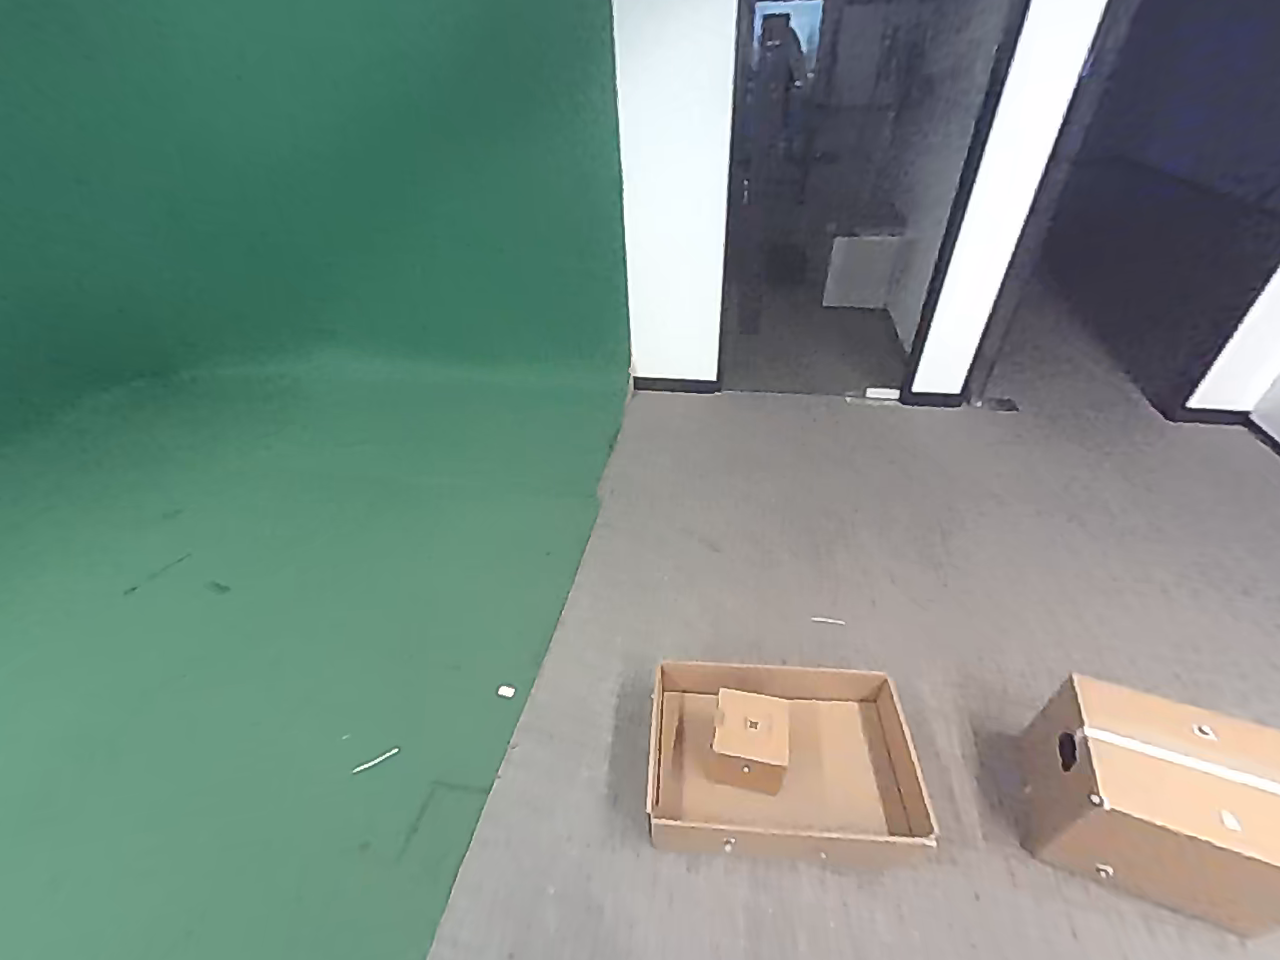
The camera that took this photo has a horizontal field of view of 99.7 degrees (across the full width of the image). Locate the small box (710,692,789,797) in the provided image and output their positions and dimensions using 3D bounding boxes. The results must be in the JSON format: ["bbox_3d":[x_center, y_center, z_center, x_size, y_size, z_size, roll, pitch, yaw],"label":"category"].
[{"bbox_3d":[0.272,0.662,1.351,0.179,0.176,0.168,8,40,9],"label":"small box"}]
